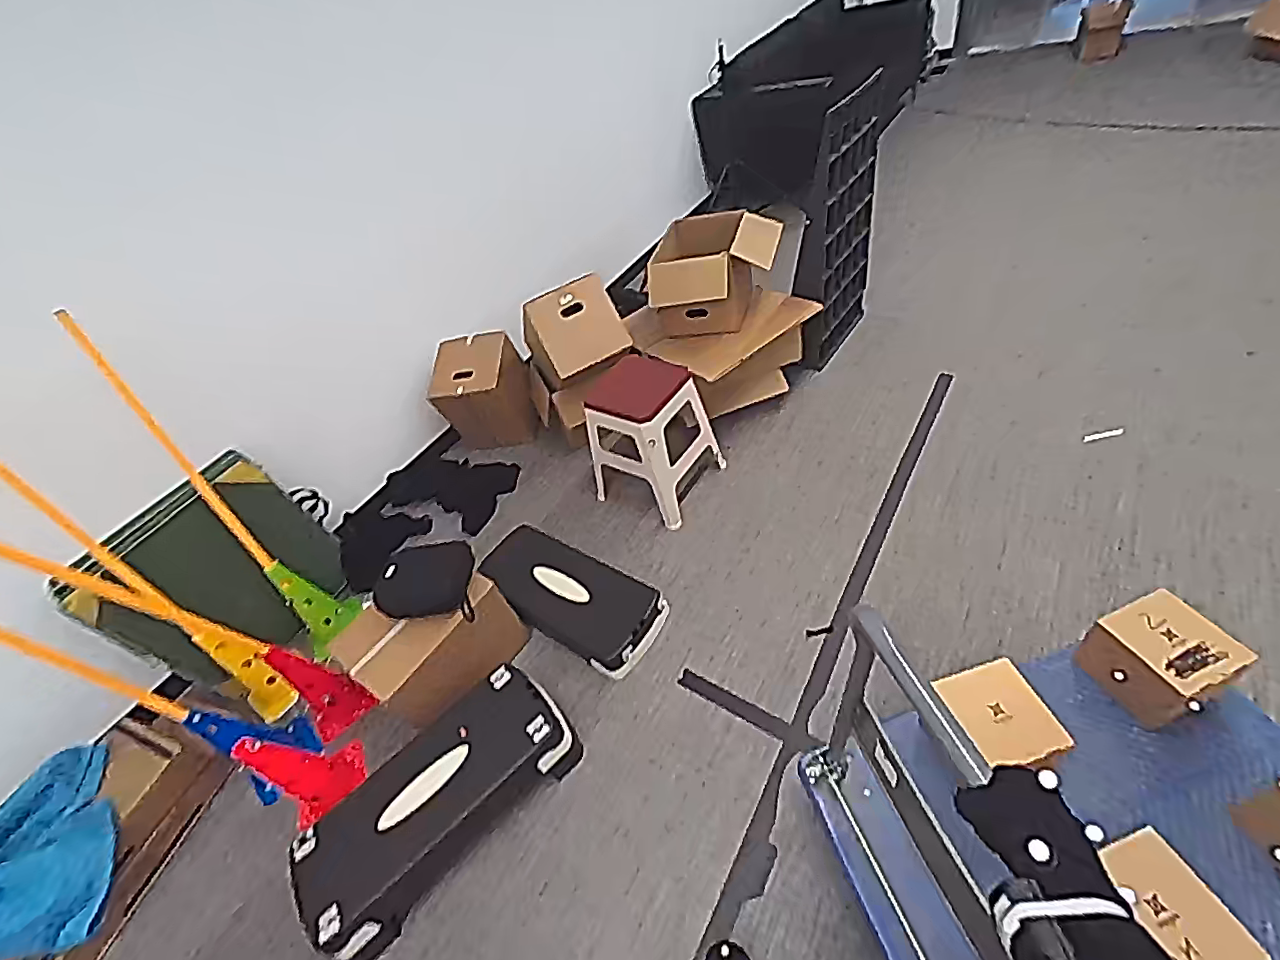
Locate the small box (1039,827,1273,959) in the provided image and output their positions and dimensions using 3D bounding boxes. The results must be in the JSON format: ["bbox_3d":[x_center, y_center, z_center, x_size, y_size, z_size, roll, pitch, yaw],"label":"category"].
[{"bbox_3d":[0.773,0.683,0.838,0.168,0.176,0.179,-22,44,-4],"label":"small box"}]

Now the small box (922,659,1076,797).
[{"bbox_3d":[0.686,0.489,1.063,0.168,0.176,0.179,-18,45,-2],"label":"small box"}]

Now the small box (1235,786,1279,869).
[{"bbox_3d":[1.126,0.559,0.849,0.179,0.176,0.168,-20,43,-1],"label":"small box"}]
